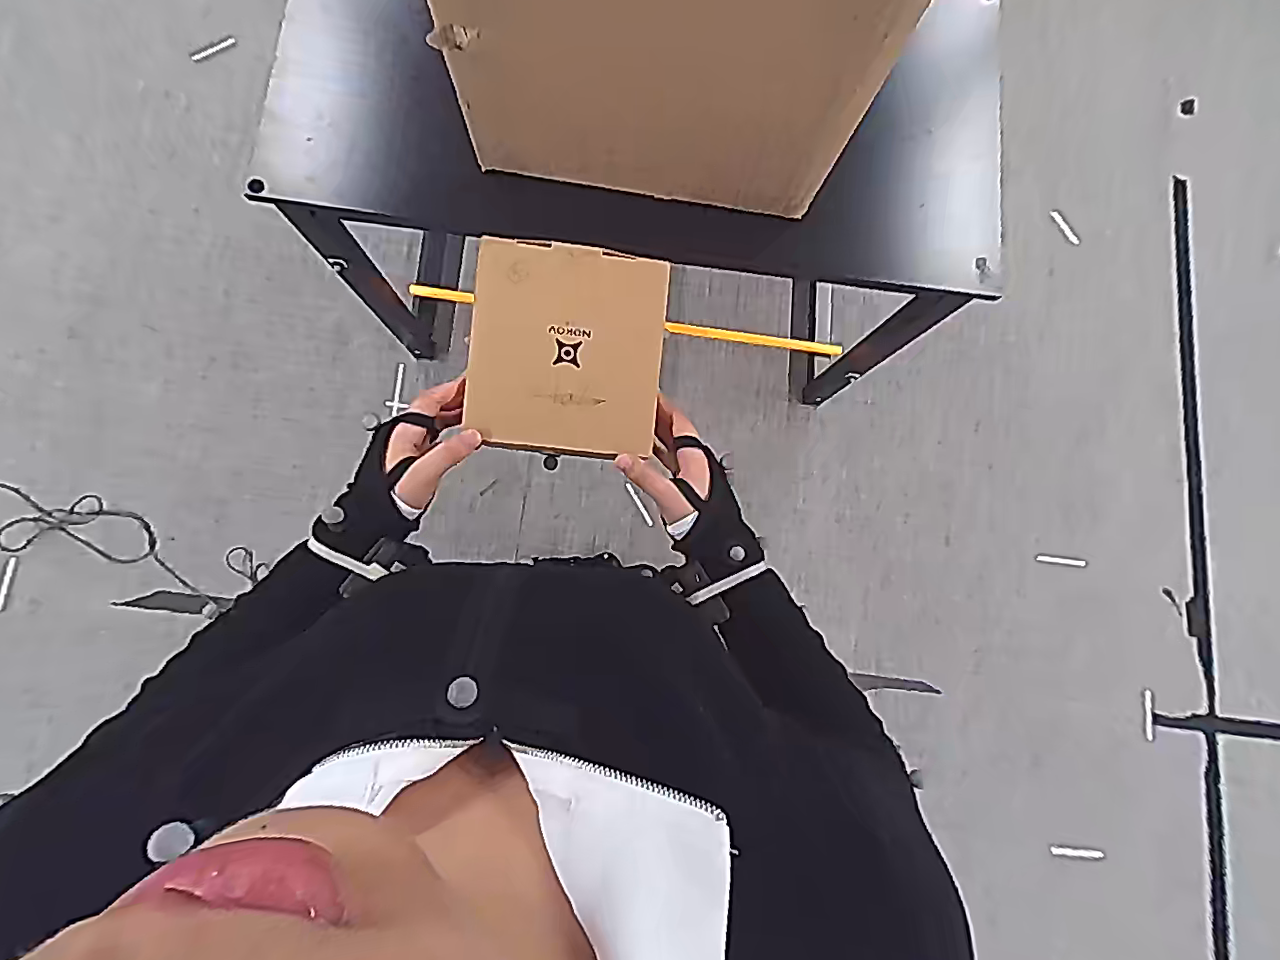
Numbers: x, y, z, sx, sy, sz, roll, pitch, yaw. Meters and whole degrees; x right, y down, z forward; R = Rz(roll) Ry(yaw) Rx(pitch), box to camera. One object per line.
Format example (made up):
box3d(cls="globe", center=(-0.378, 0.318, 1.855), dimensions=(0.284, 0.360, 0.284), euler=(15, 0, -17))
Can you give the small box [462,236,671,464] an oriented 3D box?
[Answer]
box3d(cls="small box", center=(-0.071, -0.113, 0.543), dimensions=(0.168, 0.176, 0.179), euler=(6, 90, -6))
